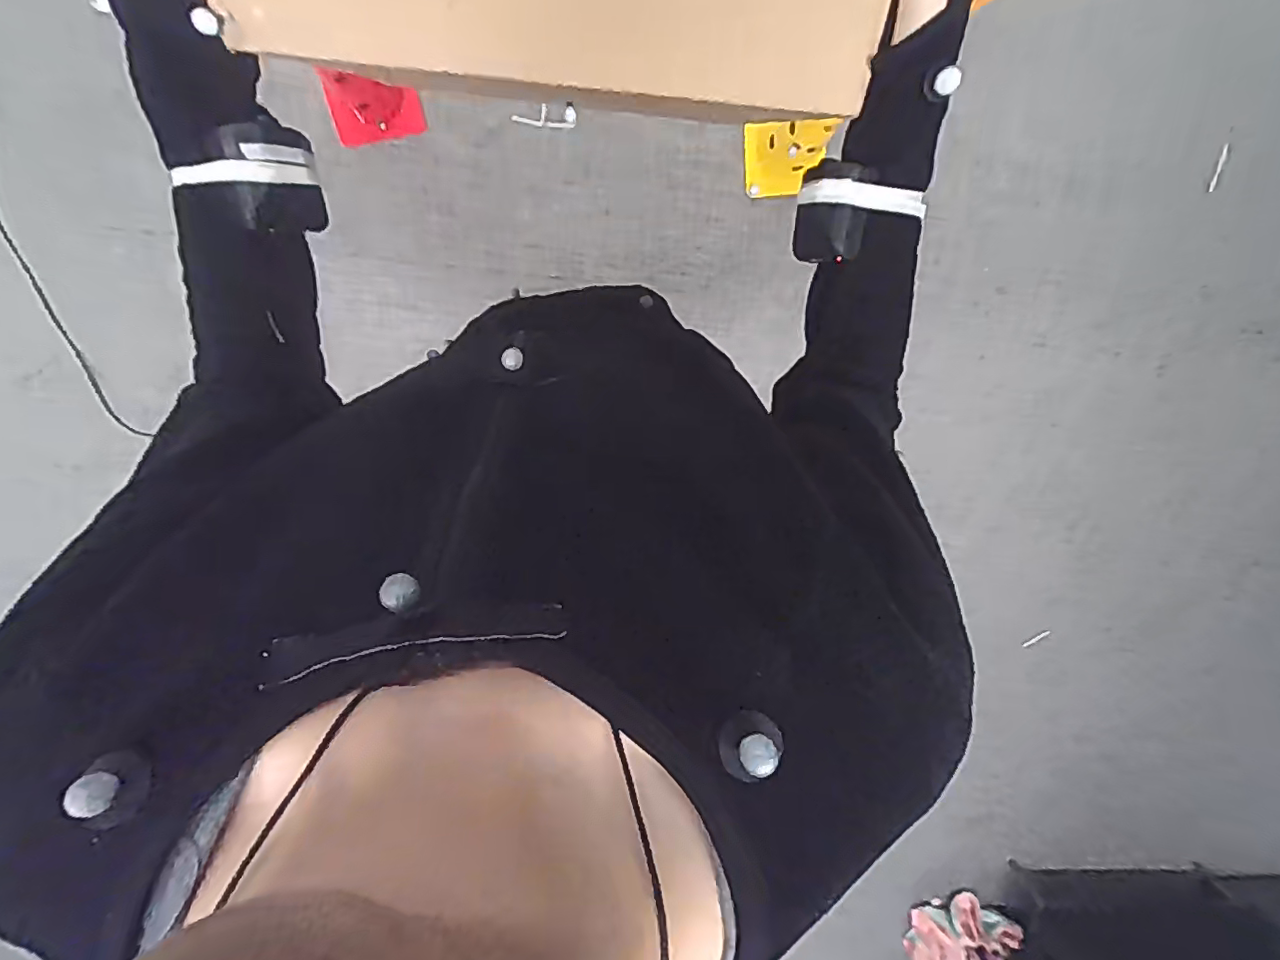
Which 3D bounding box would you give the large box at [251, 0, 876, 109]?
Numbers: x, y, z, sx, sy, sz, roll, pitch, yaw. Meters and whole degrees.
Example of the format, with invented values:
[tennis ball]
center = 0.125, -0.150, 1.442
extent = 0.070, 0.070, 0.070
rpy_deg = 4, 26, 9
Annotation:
[large box]
center = -0.044, -0.480, 0.407
extent = 0.408, 0.320, 0.320
rpy_deg = 1, 122, -6
